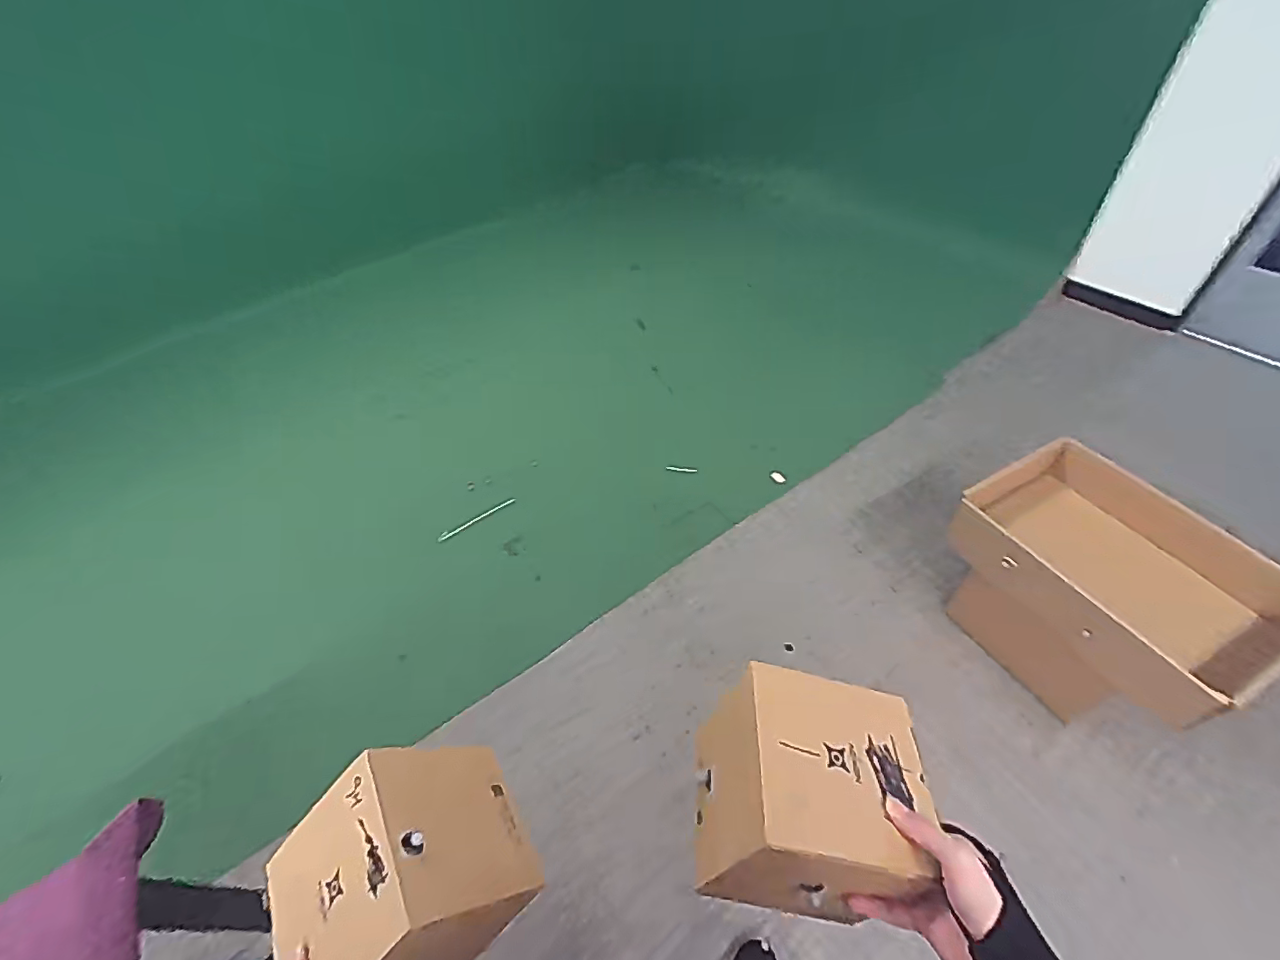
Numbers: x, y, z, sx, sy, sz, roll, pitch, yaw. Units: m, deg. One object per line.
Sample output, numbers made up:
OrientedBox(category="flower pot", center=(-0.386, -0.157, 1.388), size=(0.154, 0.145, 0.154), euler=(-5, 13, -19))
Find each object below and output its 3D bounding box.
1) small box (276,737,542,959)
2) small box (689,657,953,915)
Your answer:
OrientedBox(category="small box", center=(-0.235, 0.393, 0.555), size=(0.179, 0.176, 0.168), euler=(-48, 50, 7))
OrientedBox(category="small box", center=(0.163, 0.312, 0.546), size=(0.179, 0.176, 0.168), euler=(16, 39, -6))
